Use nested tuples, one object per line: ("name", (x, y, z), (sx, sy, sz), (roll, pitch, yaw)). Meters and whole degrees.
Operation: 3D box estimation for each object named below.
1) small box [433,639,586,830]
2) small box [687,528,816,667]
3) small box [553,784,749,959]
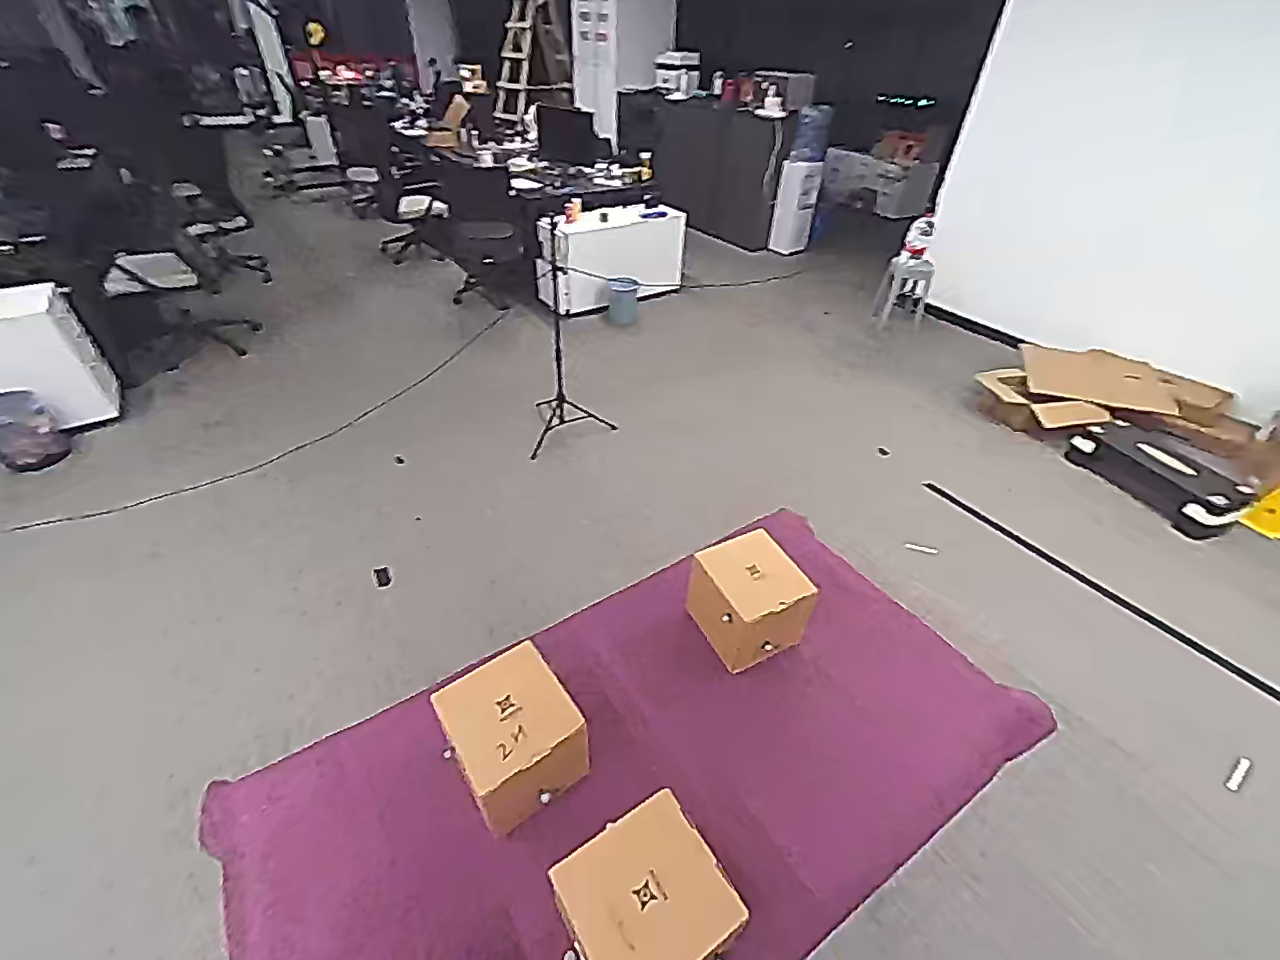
("small box", (-0.197, 0.391, 0.836), (0.168, 0.176, 0.179), (-25, 47, -29))
("small box", (0.207, 0.228, 1.057), (0.168, 0.176, 0.179), (-17, 45, -22))
("small box", (0.004, 0.531, 0.674), (0.179, 0.176, 0.168), (-20, 45, -27))
